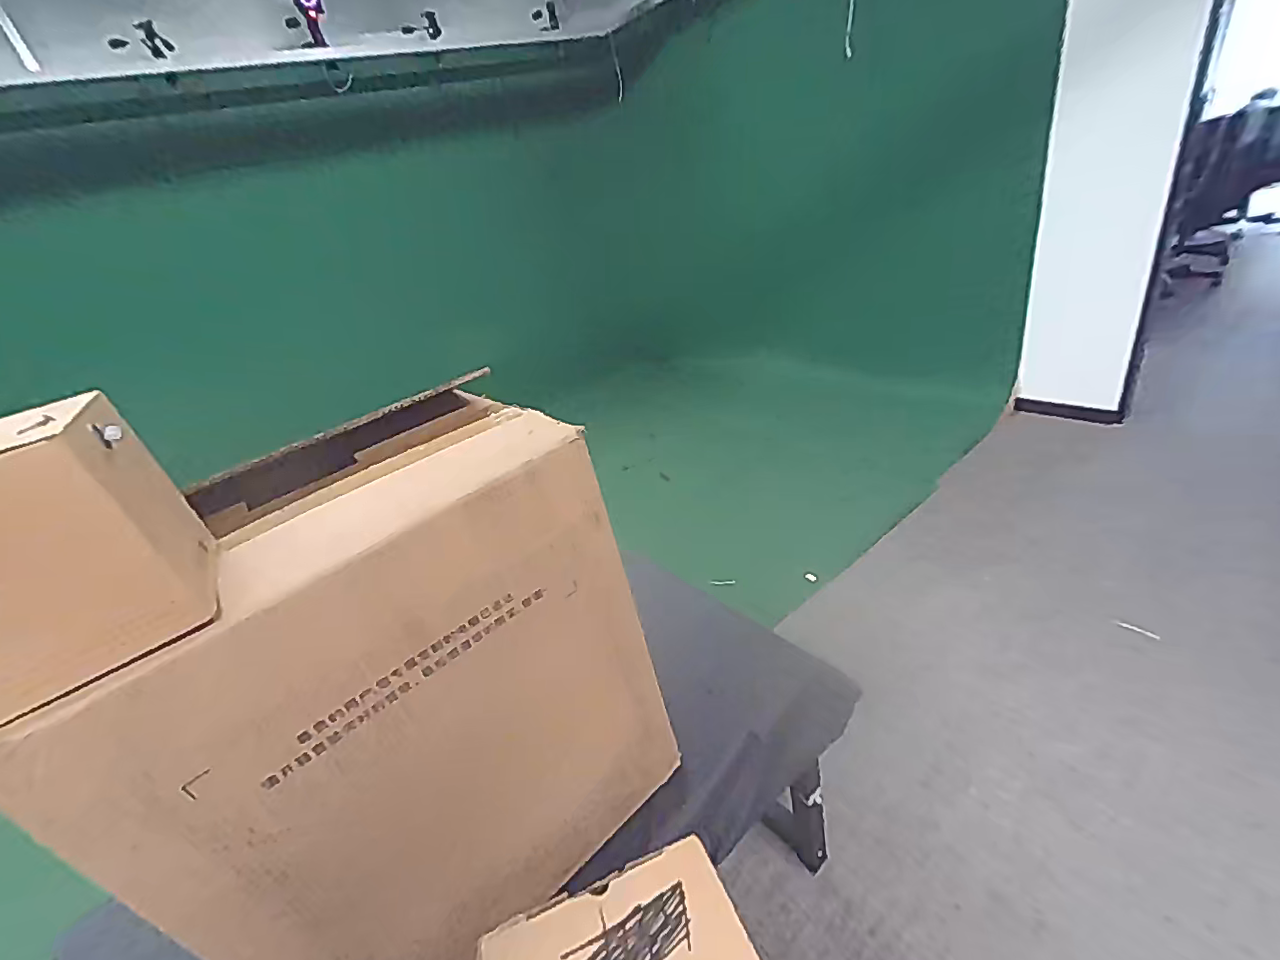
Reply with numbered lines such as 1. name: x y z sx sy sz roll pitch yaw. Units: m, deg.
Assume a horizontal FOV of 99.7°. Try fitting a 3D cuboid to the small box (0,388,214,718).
1. small box: -0.467 0.054 0.403 0.179 0.176 0.168 -30 35 -25
